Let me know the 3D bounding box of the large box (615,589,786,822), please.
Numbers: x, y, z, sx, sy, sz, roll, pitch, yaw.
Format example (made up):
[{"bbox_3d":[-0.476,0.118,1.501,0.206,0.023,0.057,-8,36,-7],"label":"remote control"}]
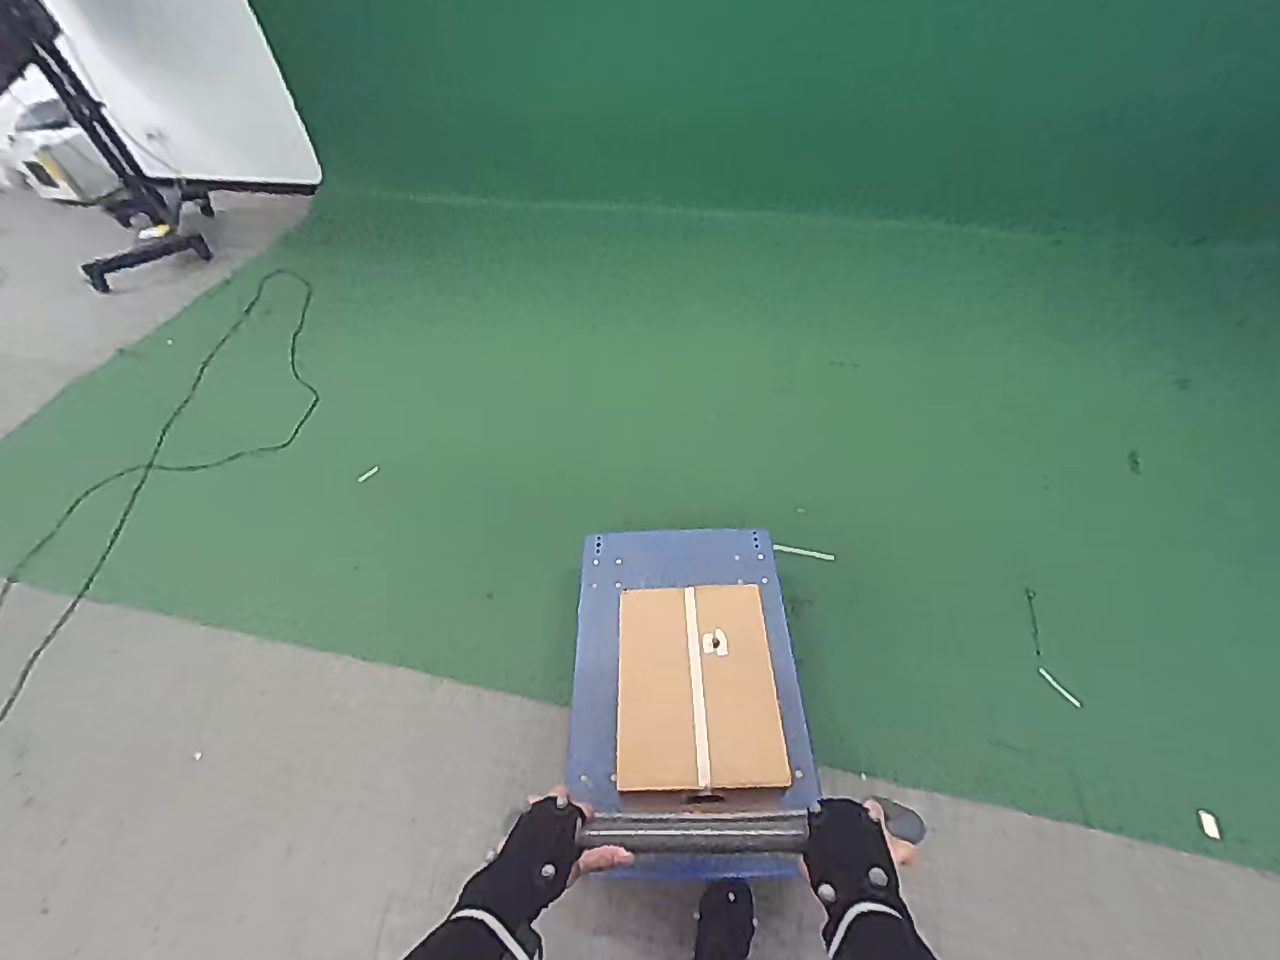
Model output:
[{"bbox_3d":[0.118,0.503,1.212,0.320,0.320,0.408,-2,48,2],"label":"large box"}]
